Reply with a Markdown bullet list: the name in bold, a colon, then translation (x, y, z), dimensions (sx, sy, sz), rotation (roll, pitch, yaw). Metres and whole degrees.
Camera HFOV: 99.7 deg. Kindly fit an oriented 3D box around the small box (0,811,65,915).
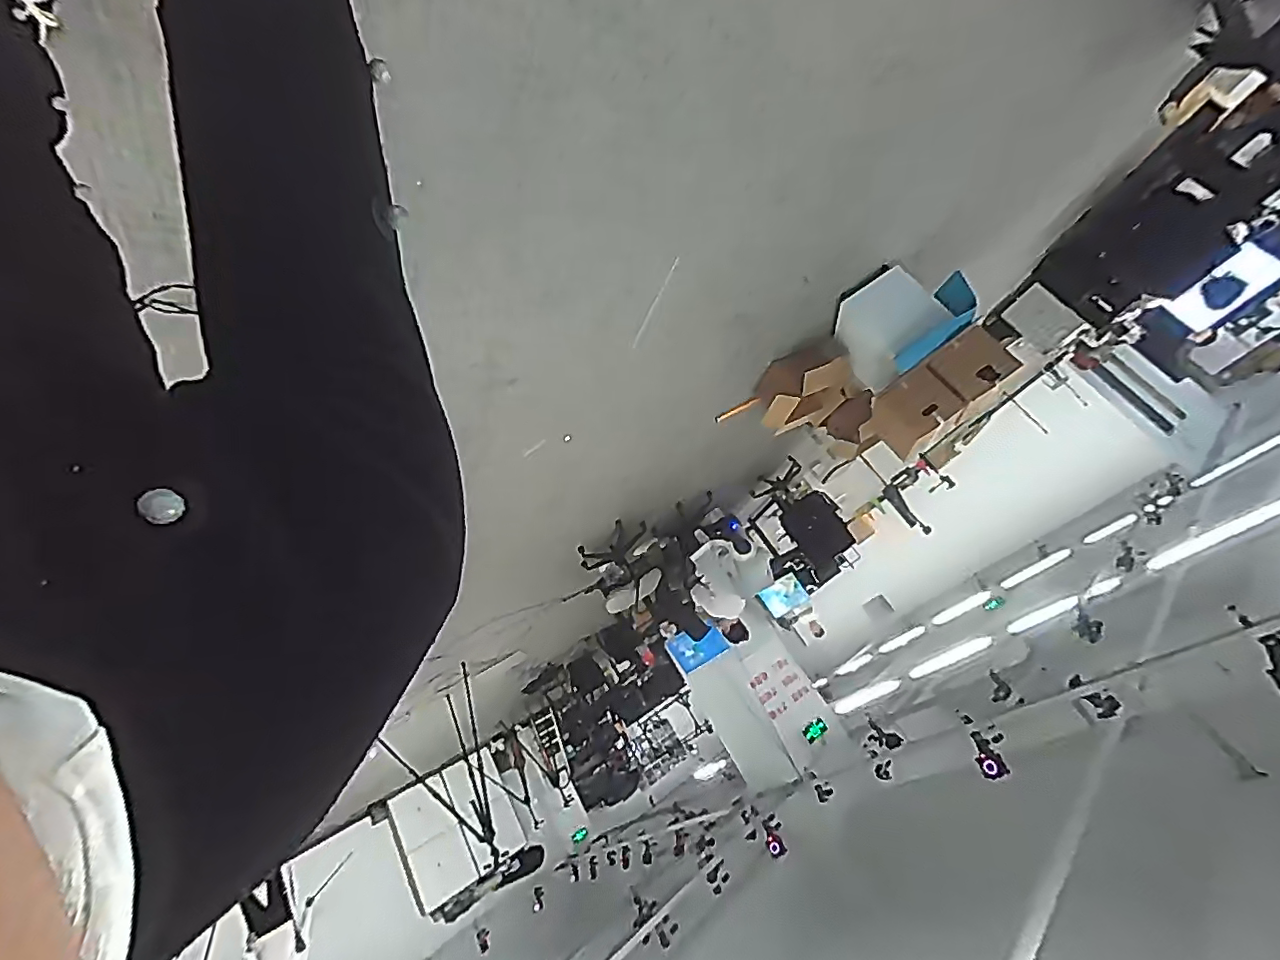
- **small box**: translation (-1.624, 0.993, 1.382), dimensions (0.179, 0.176, 0.168), rotation (-15, 152, -44)
